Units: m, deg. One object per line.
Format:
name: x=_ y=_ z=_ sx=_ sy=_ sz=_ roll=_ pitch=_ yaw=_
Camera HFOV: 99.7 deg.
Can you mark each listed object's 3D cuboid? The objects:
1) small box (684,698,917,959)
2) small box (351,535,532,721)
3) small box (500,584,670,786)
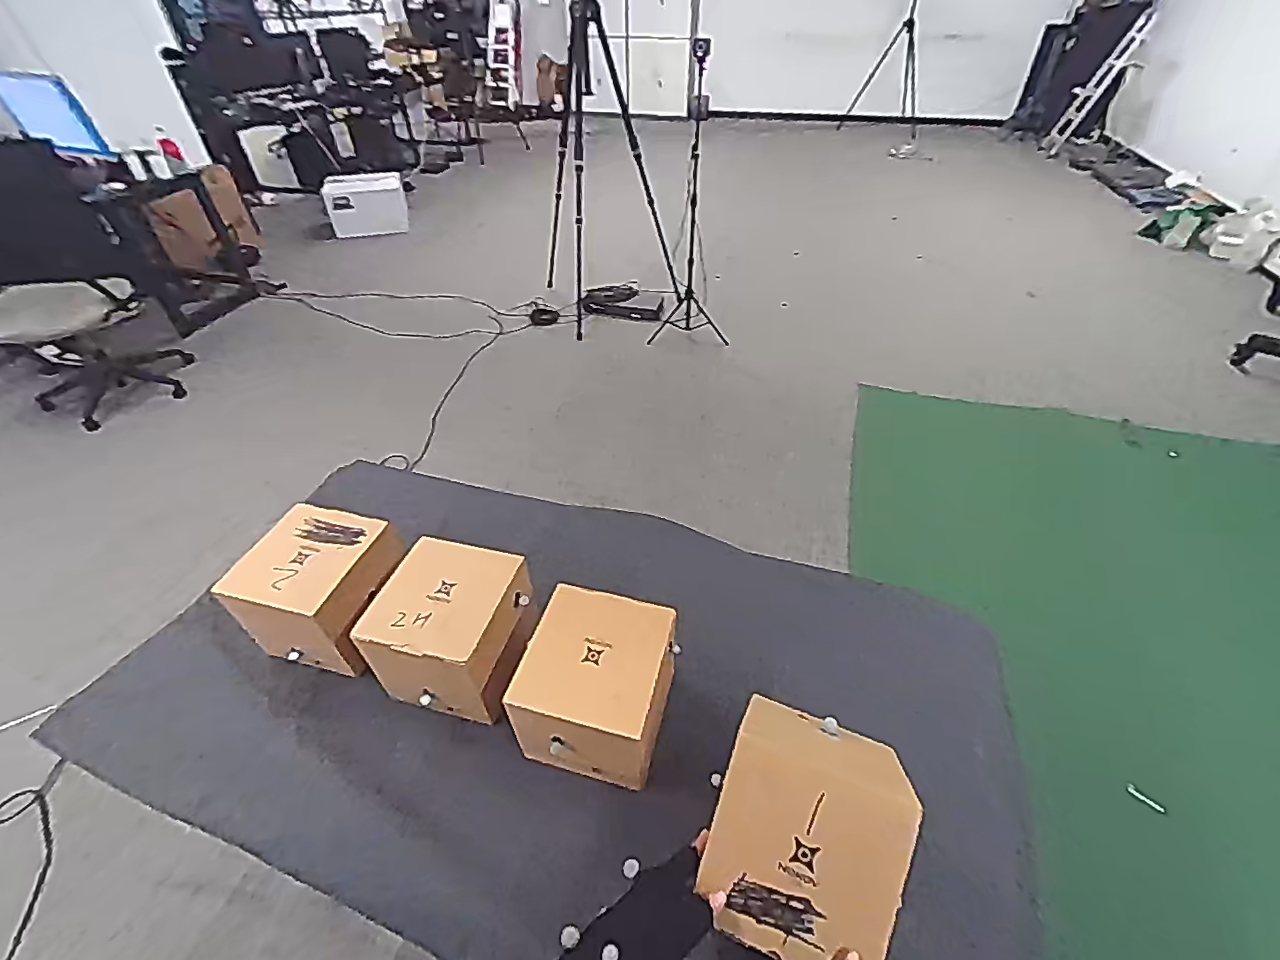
small box: x=0.162 y=0.355 z=0.559 sx=0.168 sy=0.176 sz=0.179 roll=17 pitch=85 yaw=18
small box: x=-0.265 y=0.211 z=0.776 sx=0.168 sy=0.176 sz=0.179 roll=10 pitch=43 yaw=11
small box: x=-0.058 y=0.270 z=0.712 sx=0.168 sy=0.176 sz=0.179 roll=10 pitch=43 yaw=12
